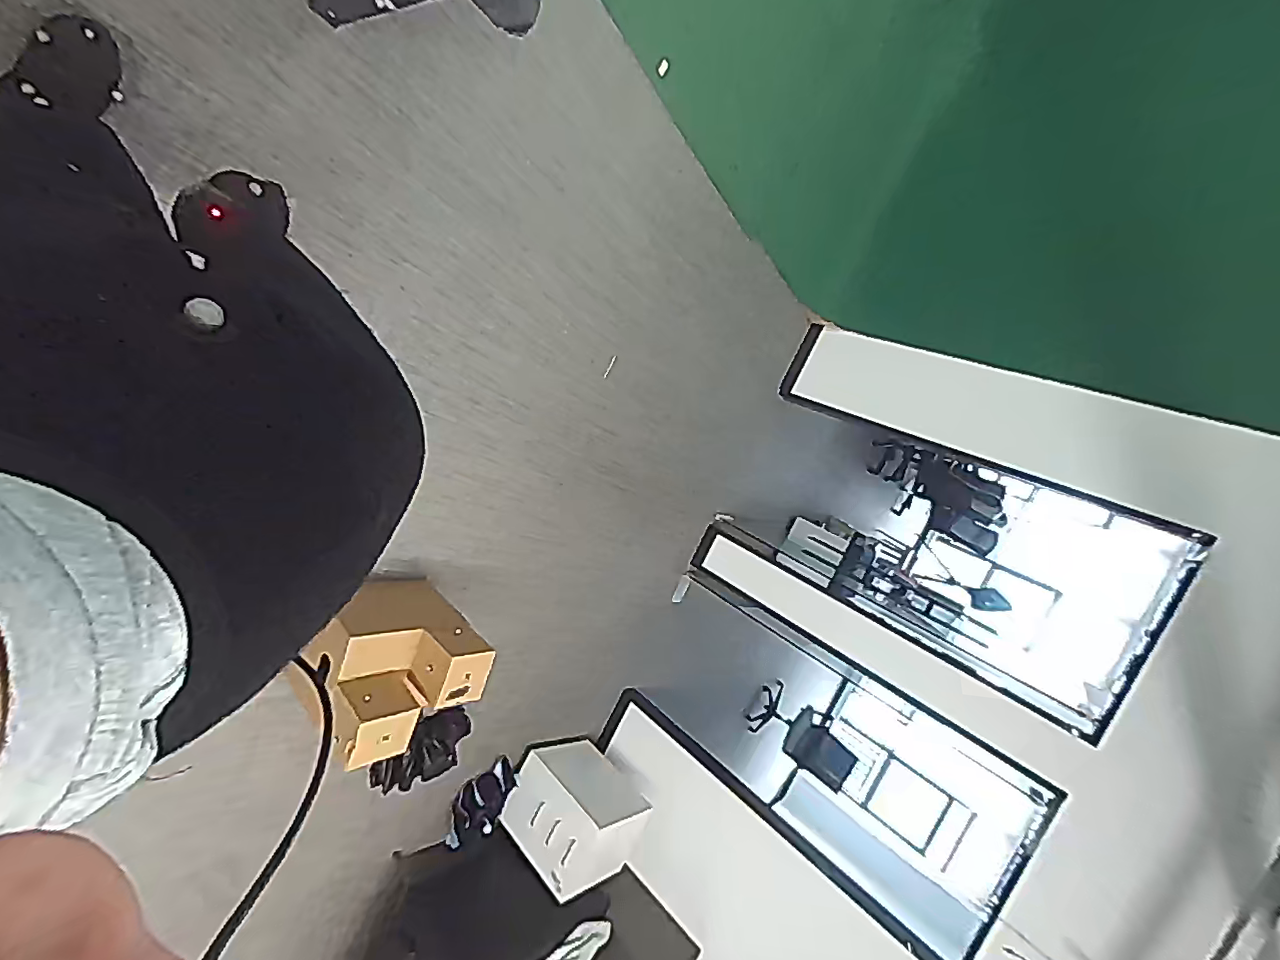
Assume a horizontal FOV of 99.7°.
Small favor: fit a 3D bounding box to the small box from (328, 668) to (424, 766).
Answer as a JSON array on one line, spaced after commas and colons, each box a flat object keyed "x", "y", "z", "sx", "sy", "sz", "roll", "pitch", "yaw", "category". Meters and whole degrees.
[{"x": -0.761, "y": 0.670, "z": 1.550, "sx": 0.179, "sy": 0.176, "sz": 0.168, "roll": 5, "pitch": 112, "yaw": -53, "category": "small box"}]

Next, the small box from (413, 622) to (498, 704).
[{"x": -0.584, "y": 0.568, "z": 1.697, "sx": 0.168, "sy": 0.176, "sz": 0.179, "roll": 13, "pitch": 100, "yaw": -54, "category": "small box"}]
